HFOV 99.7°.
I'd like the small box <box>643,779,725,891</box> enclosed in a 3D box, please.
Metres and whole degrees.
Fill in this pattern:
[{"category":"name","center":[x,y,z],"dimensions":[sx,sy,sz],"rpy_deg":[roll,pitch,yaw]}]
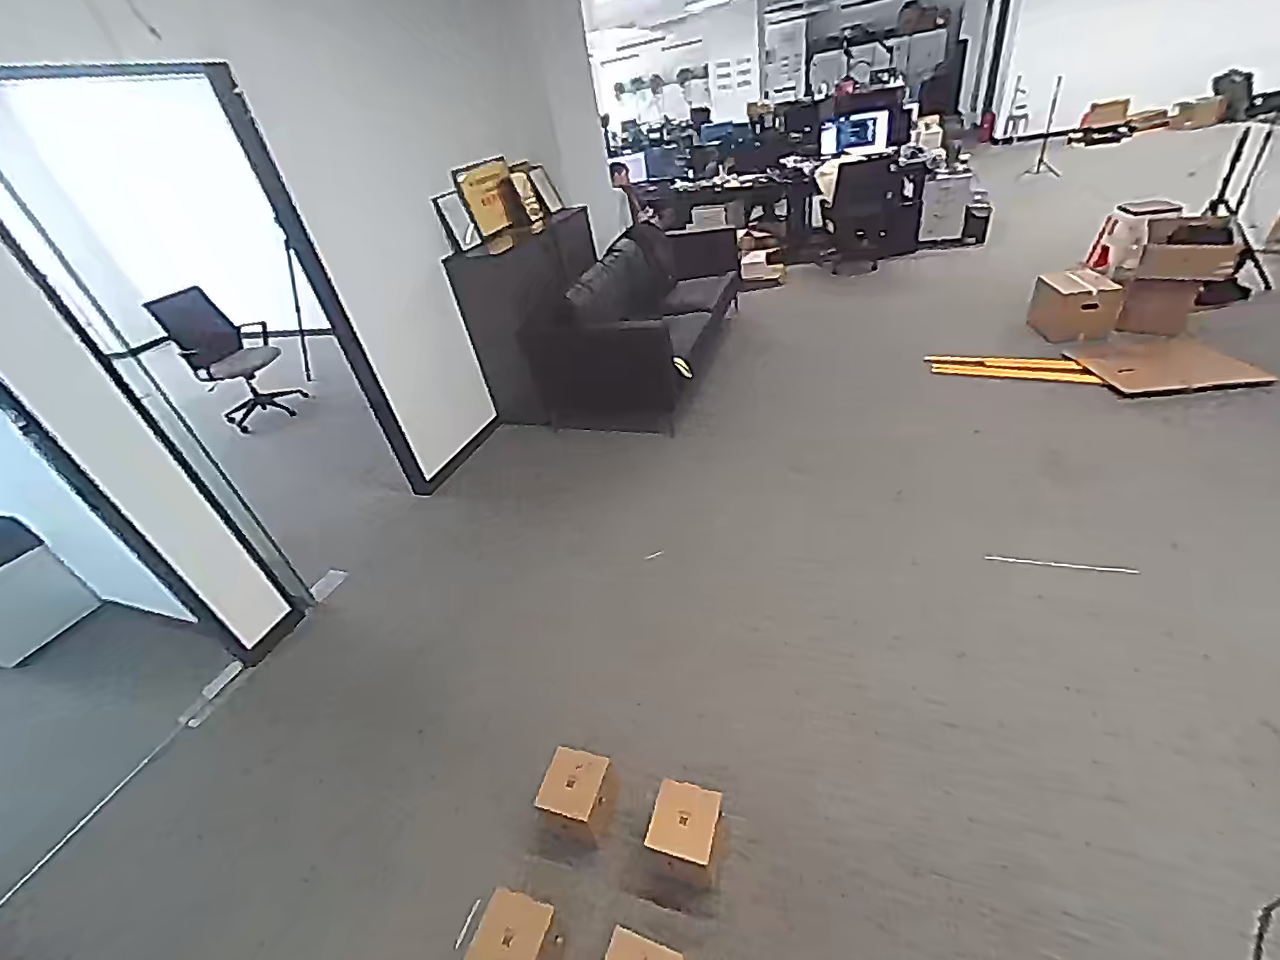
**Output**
[{"category":"small box","center":[0.124,0.935,1.423],"dimensions":[0.168,0.176,0.179],"rpy_deg":[4,36,21]}]

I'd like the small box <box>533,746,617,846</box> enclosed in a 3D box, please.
[{"category":"small box","center":[-0.176,0.905,1.546],"dimensions":[0.168,0.176,0.179],"rpy_deg":[4,37,21]}]

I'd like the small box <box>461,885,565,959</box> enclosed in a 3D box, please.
[{"category":"small box","center":[-0.291,1.115,1.280],"dimensions":[0.168,0.176,0.179],"rpy_deg":[4,37,22]}]
